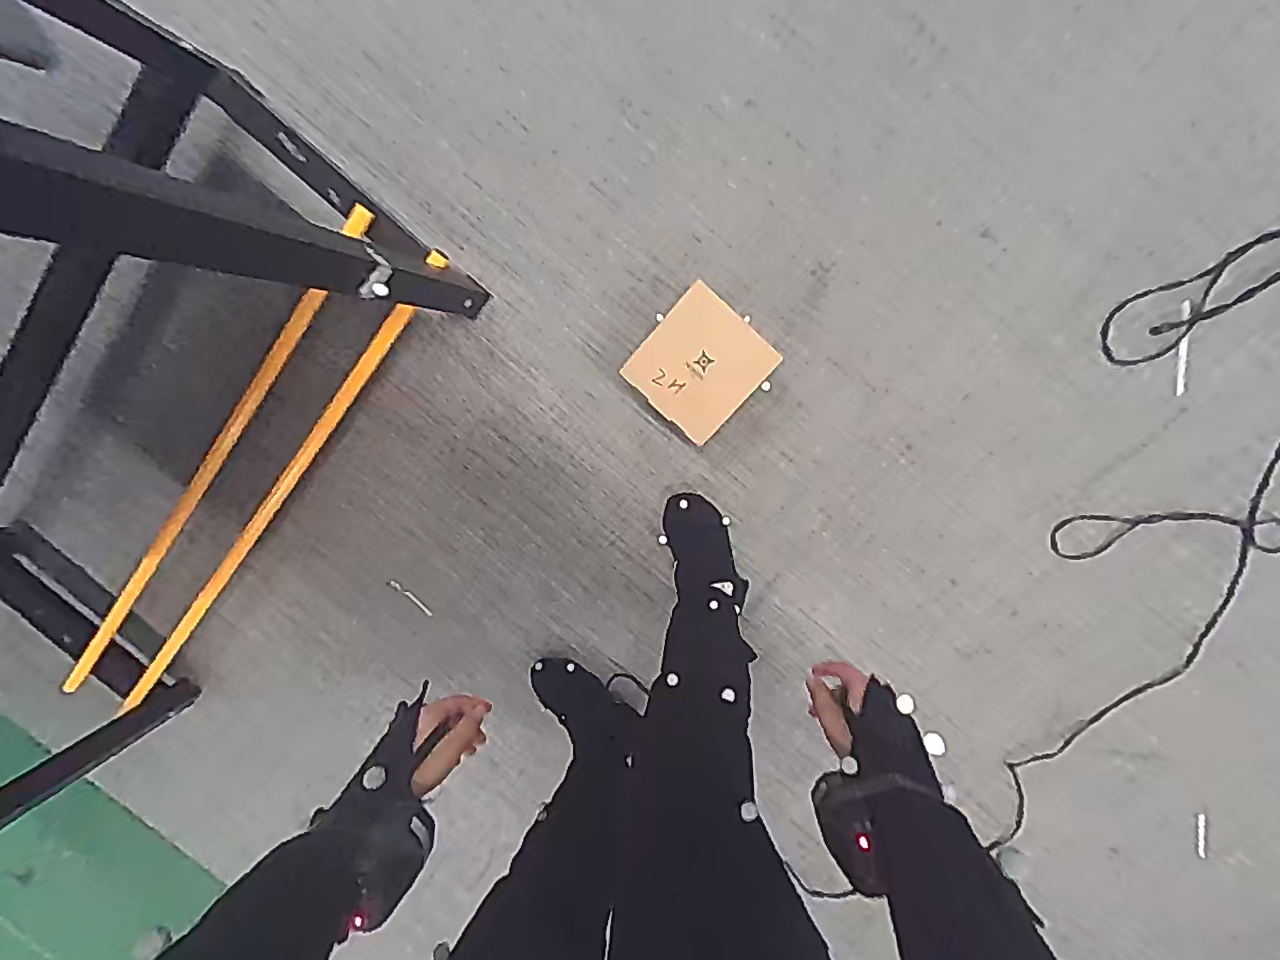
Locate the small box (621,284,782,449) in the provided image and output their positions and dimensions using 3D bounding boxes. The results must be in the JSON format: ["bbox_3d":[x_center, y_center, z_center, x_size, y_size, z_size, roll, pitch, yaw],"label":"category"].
[{"bbox_3d":[0.095,-0.176,0.852,0.168,0.176,0.179,42,104,-2],"label":"small box"}]
